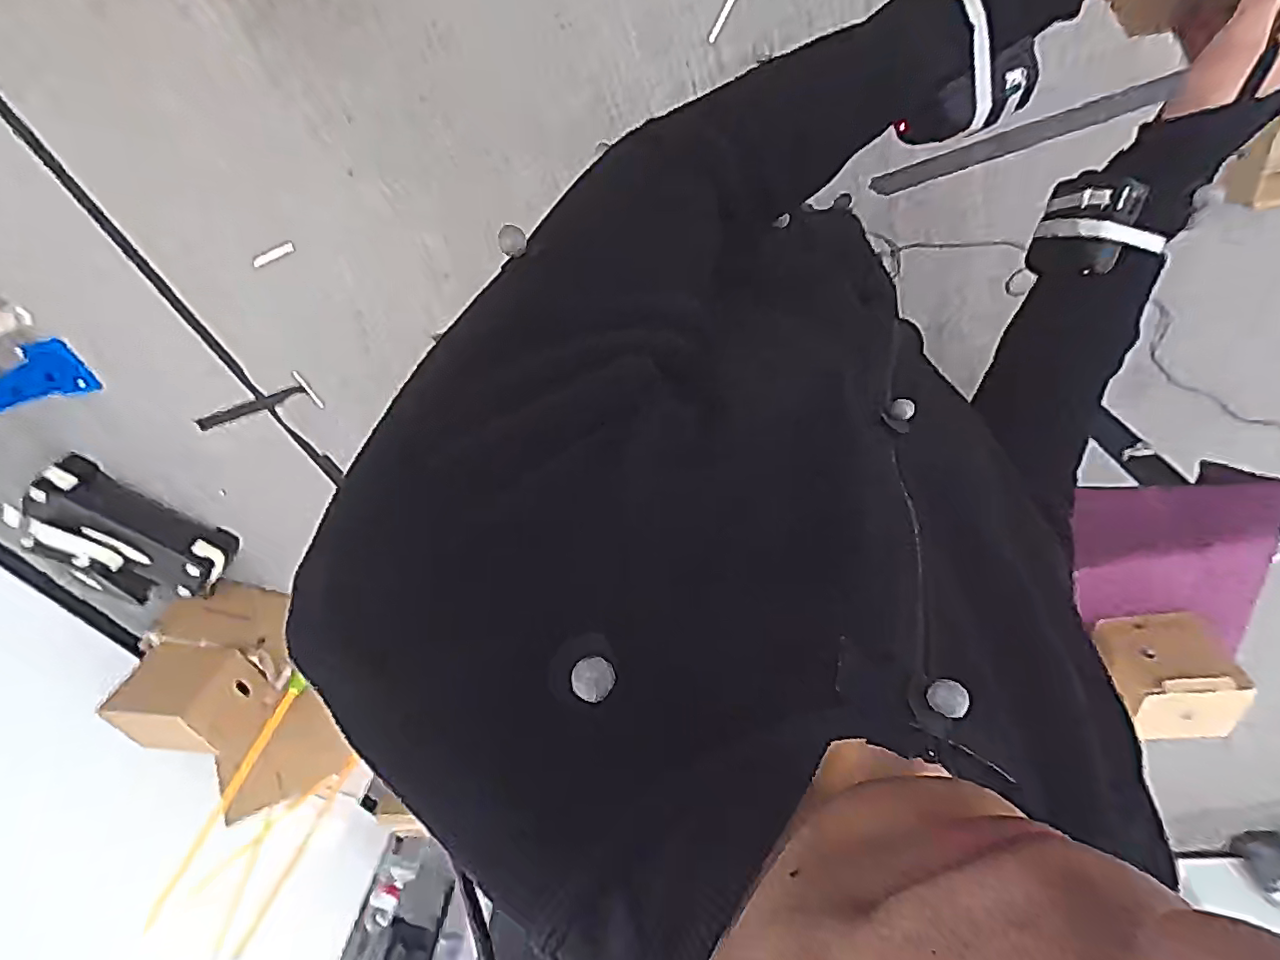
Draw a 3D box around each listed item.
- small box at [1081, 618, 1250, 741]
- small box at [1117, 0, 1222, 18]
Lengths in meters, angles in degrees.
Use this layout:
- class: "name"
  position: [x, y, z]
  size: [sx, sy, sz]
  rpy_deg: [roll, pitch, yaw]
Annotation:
- class: "small box"
  position: [1.021, 0.390, 1.073]
  size: [0.168, 0.176, 0.179]
  rpy_deg: [-10, 126, 15]
- class: "small box"
  position: [0.402, -0.436, 0.330]
  size: [0.168, 0.176, 0.179]
  rpy_deg: [33, 119, -18]
